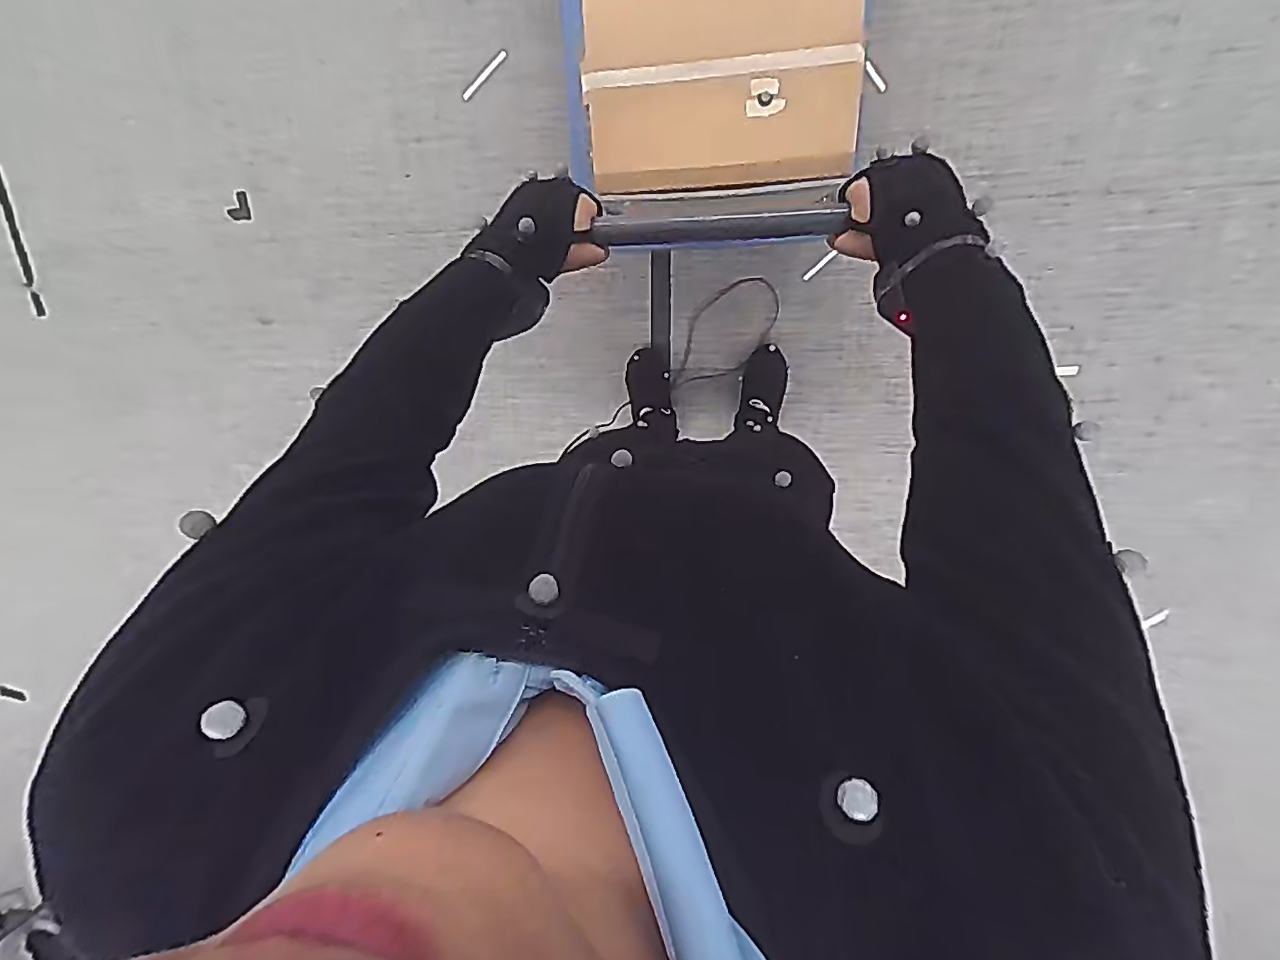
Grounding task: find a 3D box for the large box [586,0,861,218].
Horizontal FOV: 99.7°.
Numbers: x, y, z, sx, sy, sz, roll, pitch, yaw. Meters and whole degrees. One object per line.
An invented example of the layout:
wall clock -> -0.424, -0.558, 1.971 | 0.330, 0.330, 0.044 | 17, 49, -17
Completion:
large box -> 0.138, -0.667, 0.956 | 0.408, 0.320, 0.320 | -1, 110, 7
